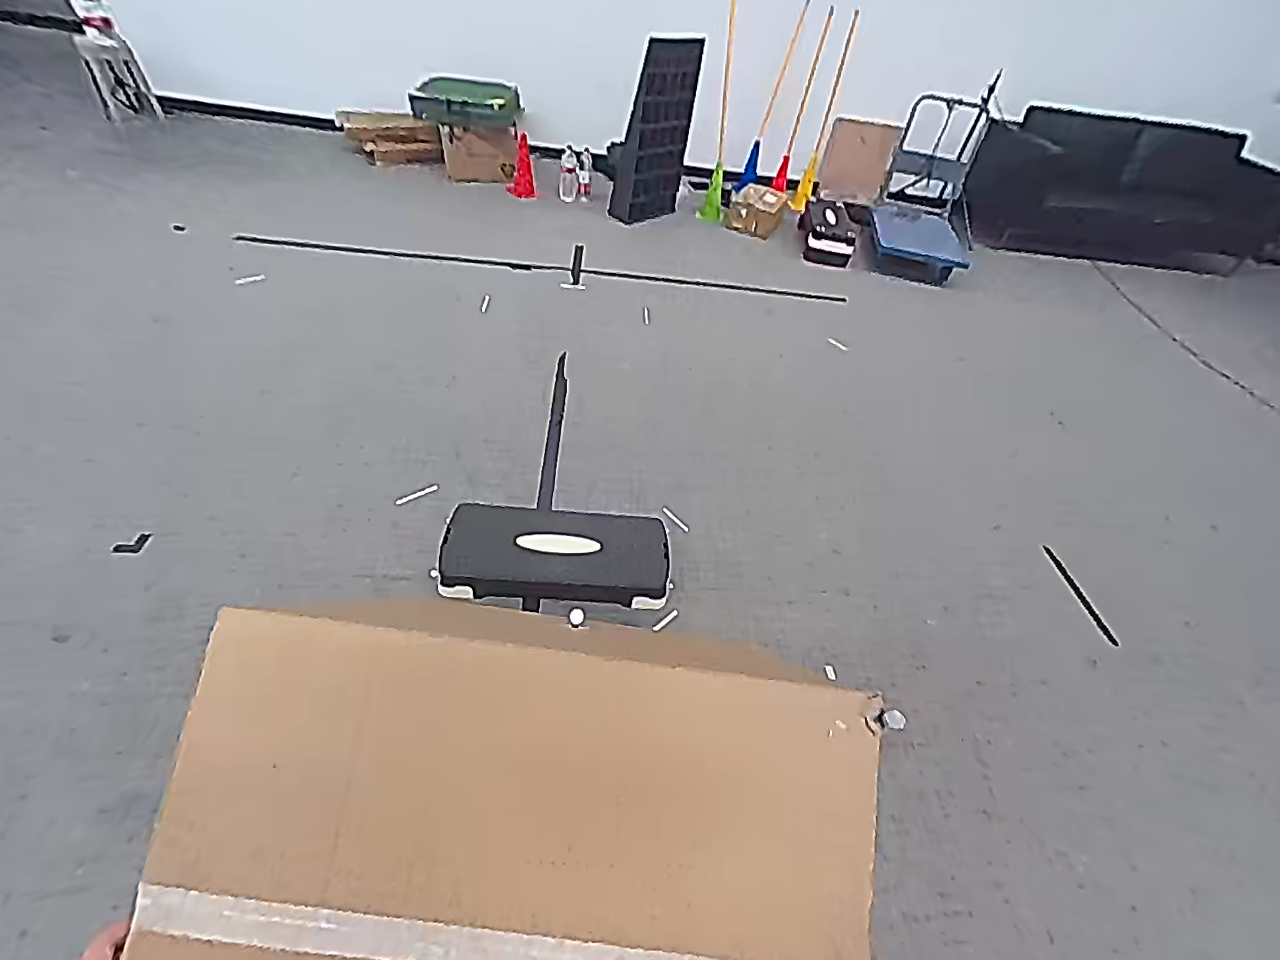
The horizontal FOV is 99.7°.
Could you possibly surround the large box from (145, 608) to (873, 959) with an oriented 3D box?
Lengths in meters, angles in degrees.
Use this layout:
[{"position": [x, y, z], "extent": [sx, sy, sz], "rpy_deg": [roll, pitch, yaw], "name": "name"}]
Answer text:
[{"position": [-0.076, 0.285, 0.450], "extent": [0.408, 0.320, 0.320], "rpy_deg": [8, 79, -1], "name": "large box"}]
